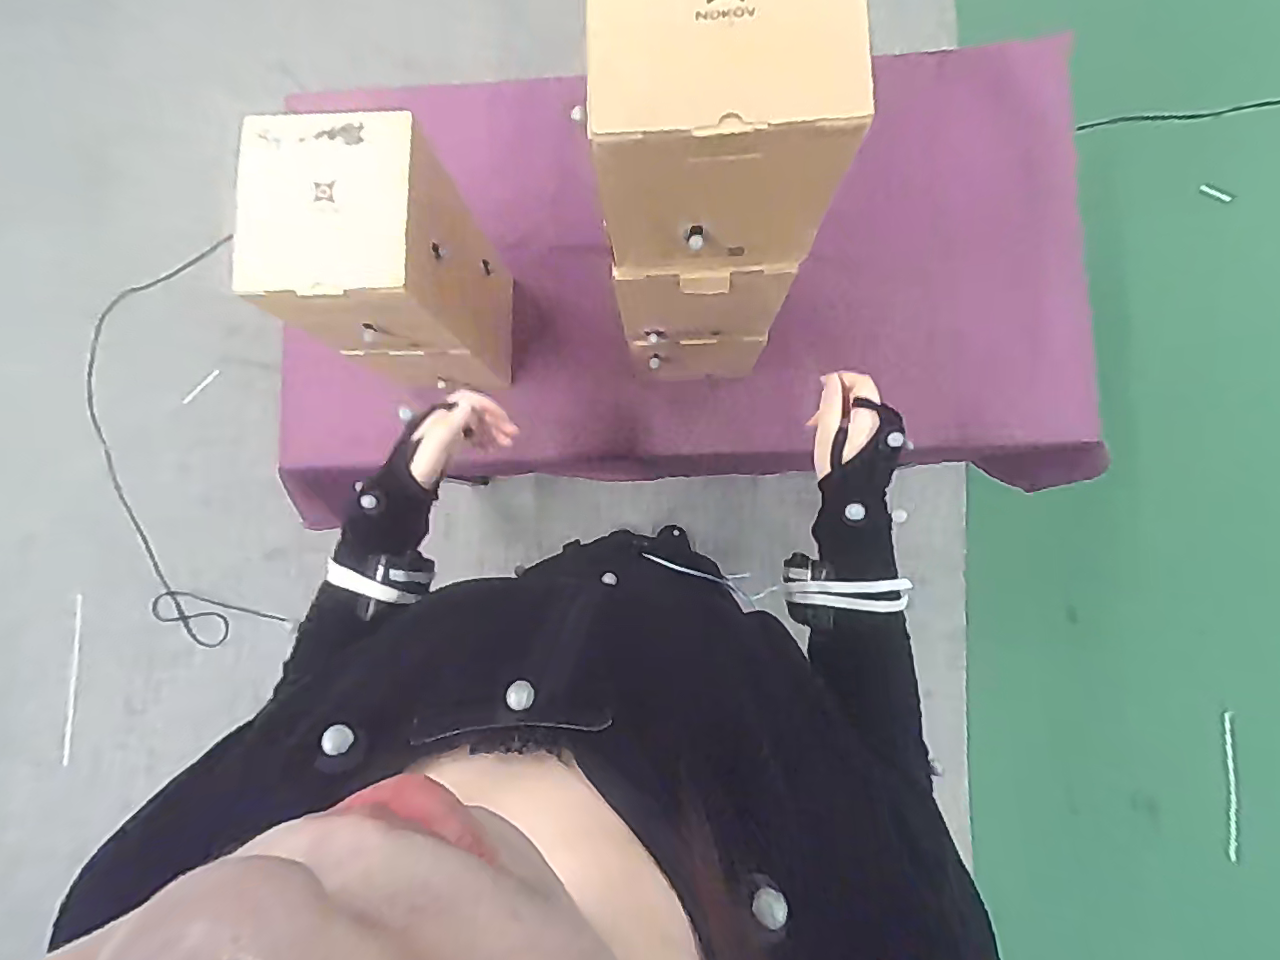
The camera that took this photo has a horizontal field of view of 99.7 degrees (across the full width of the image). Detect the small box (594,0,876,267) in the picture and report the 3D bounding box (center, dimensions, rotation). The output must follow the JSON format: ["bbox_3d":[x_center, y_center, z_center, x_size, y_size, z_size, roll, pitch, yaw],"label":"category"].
[{"bbox_3d":[0.056,-0.283,0.401,0.168,0.176,0.179,-2,85,3],"label":"small box"}]

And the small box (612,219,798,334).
[{"bbox_3d":[0.062,-0.260,0.562,0.168,0.176,0.179,-2,84,3],"label":"small box"}]

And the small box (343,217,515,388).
[{"bbox_3d":[-0.276,-0.233,0.743,0.168,0.176,0.179,0,86,3],"label":"small box"}]

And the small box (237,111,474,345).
[{"bbox_3d":[-0.285,-0.250,0.578,0.168,0.176,0.179,0,86,2],"label":"small box"}]
